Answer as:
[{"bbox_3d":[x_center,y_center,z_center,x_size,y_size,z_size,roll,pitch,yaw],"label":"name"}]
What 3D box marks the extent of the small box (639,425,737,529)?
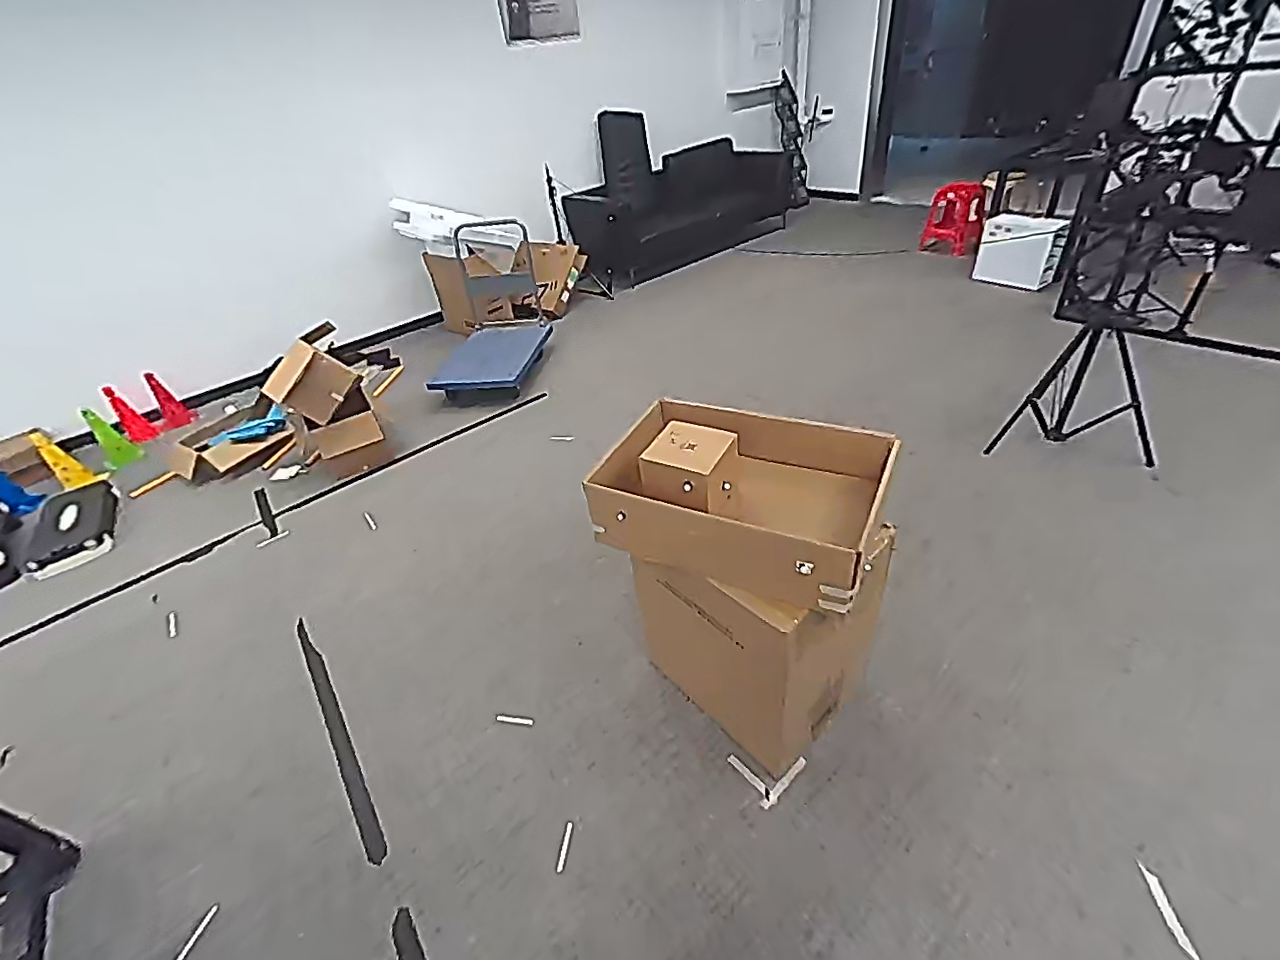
[{"bbox_3d":[0.122,-0.006,1.288,0.179,0.176,0.168,15,44,28],"label":"small box"}]
